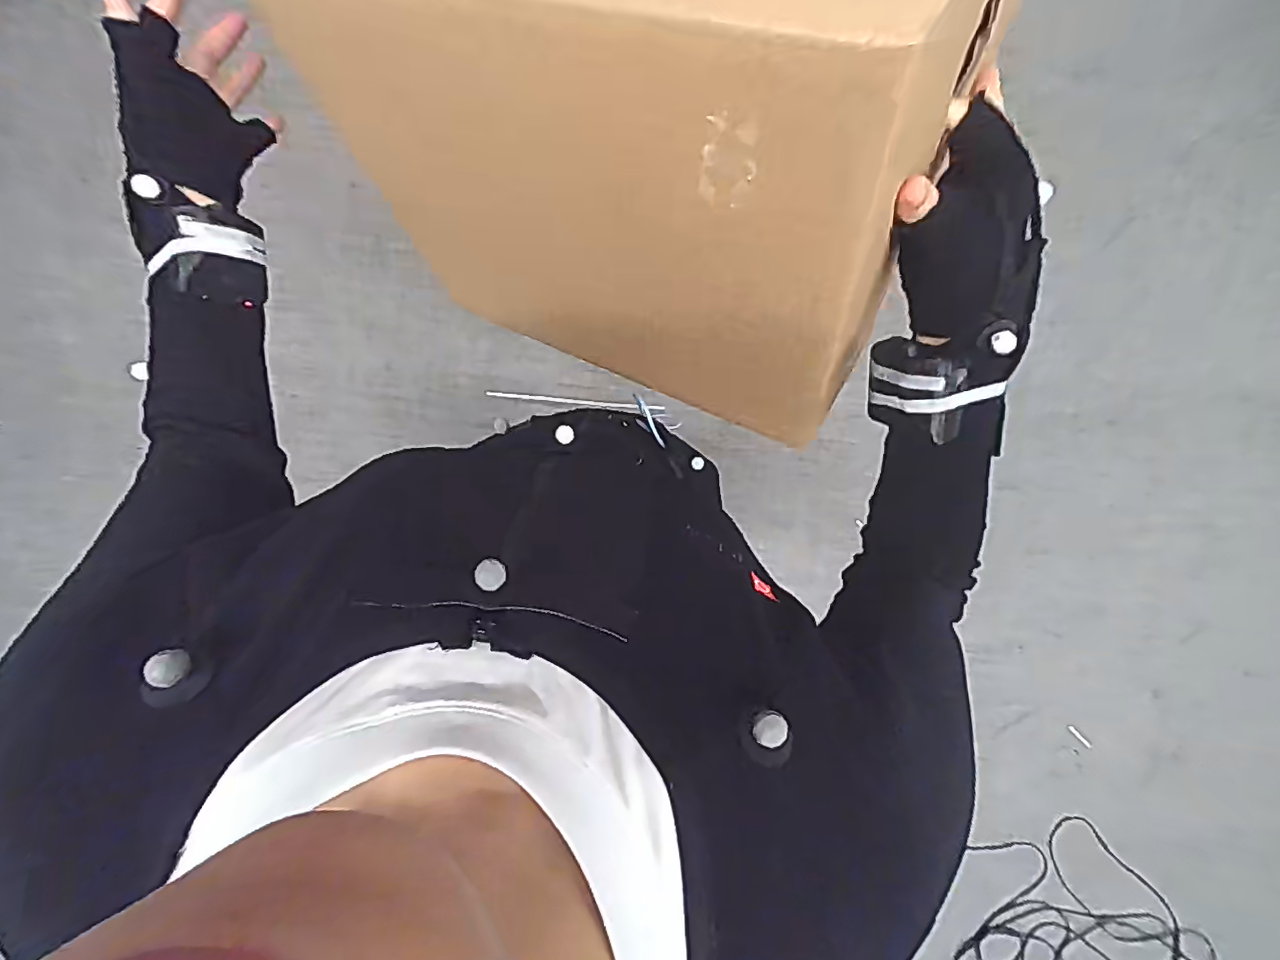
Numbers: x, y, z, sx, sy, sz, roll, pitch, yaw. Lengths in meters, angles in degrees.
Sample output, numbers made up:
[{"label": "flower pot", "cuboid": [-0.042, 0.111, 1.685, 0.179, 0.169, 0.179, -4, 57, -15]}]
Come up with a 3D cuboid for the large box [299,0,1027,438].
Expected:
[{"label": "large box", "cuboid": [0.037, -0.296, 0.442, 0.408, 0.320, 0.320, 27, 73, 19]}]
